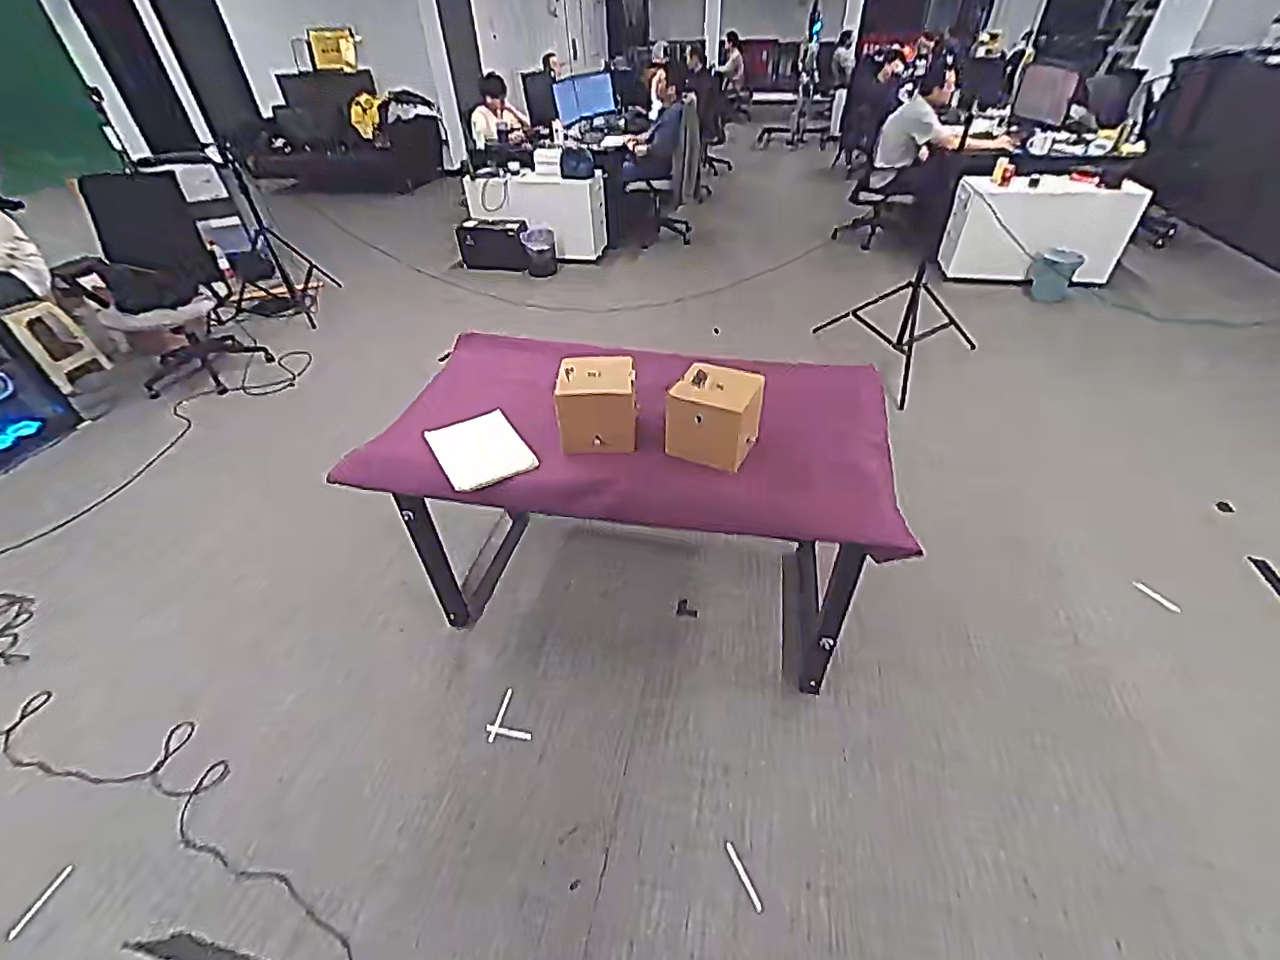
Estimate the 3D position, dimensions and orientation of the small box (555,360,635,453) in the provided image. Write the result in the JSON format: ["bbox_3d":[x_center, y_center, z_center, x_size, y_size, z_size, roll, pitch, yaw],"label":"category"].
[{"bbox_3d":[-0.100,-0.177,1.310,0.179,0.176,0.168,-1,40,1],"label":"small box"}]

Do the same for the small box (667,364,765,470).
[{"bbox_3d":[0.172,-0.146,1.256,0.179,0.176,0.168,17,43,22],"label":"small box"}]
